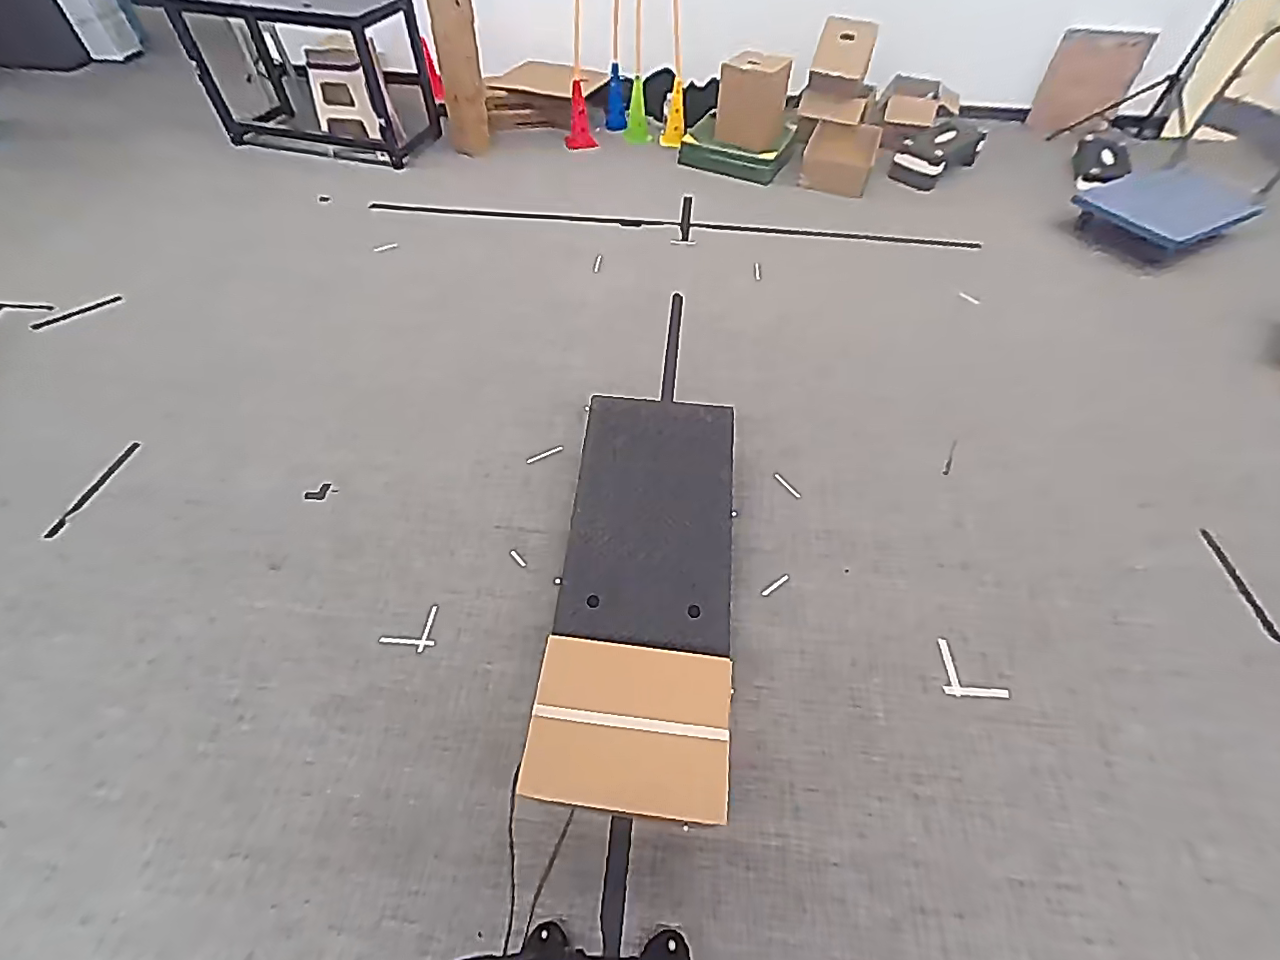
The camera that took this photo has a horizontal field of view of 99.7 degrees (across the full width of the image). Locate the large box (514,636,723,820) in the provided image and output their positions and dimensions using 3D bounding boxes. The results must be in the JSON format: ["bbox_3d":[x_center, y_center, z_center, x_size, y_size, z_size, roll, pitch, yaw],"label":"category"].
[{"bbox_3d":[-0.033,0.572,1.232,0.408,0.320,0.320,7,56,2],"label":"large box"}]

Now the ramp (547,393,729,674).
[{"bbox_3d":[0.020,0.165,1.634,0.509,0.206,0.991,5,53,-1],"label":"ramp"}]
